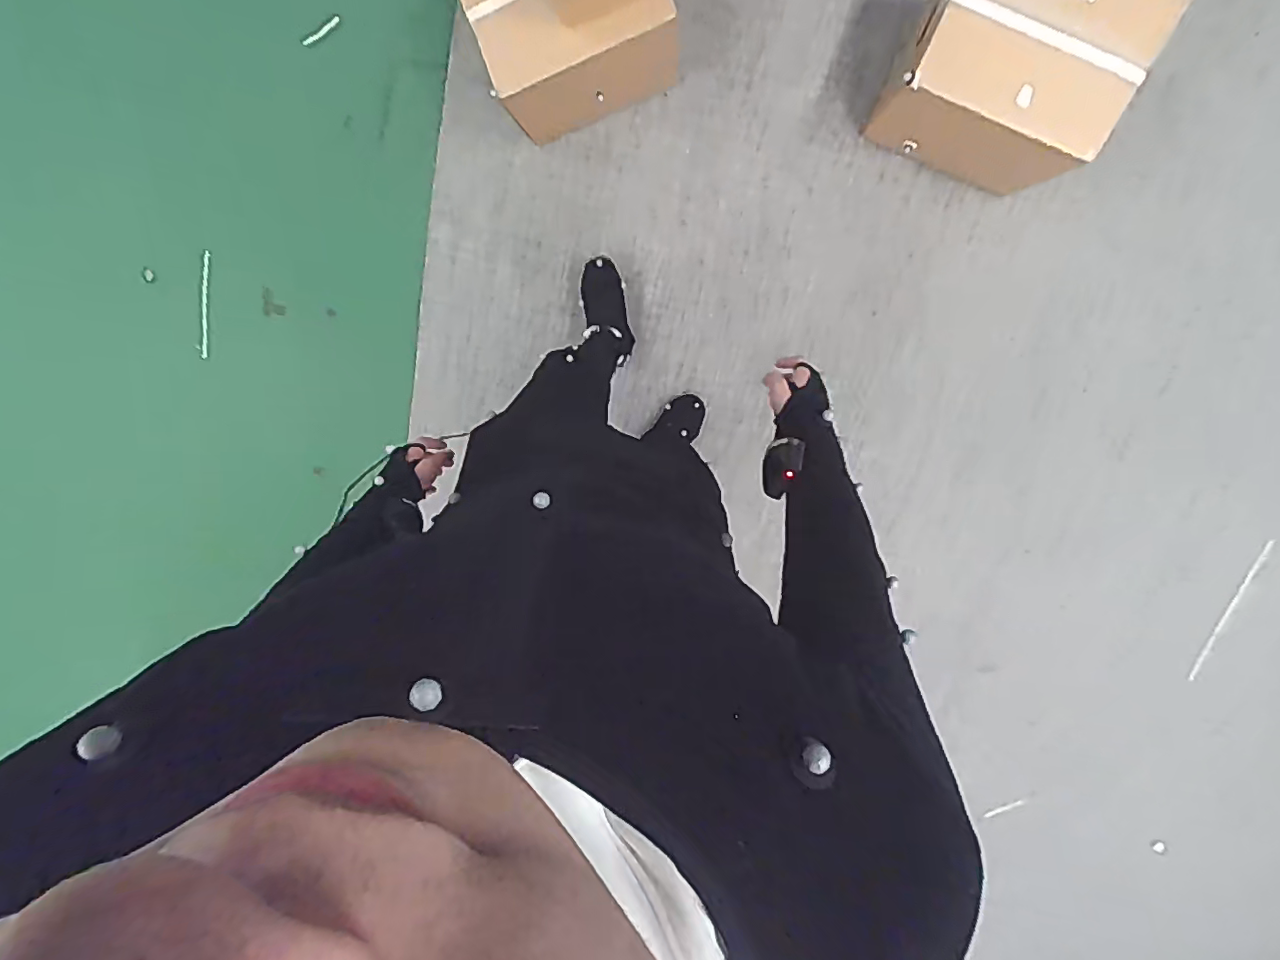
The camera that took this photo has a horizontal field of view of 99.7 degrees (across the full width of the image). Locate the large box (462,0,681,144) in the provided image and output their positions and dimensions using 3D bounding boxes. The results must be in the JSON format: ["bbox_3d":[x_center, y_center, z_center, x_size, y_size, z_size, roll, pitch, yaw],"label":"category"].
[{"bbox_3d":[-0.147,-1.039,1.213,0.408,0.320,0.320,-18,102,11],"label":"large box"}]
